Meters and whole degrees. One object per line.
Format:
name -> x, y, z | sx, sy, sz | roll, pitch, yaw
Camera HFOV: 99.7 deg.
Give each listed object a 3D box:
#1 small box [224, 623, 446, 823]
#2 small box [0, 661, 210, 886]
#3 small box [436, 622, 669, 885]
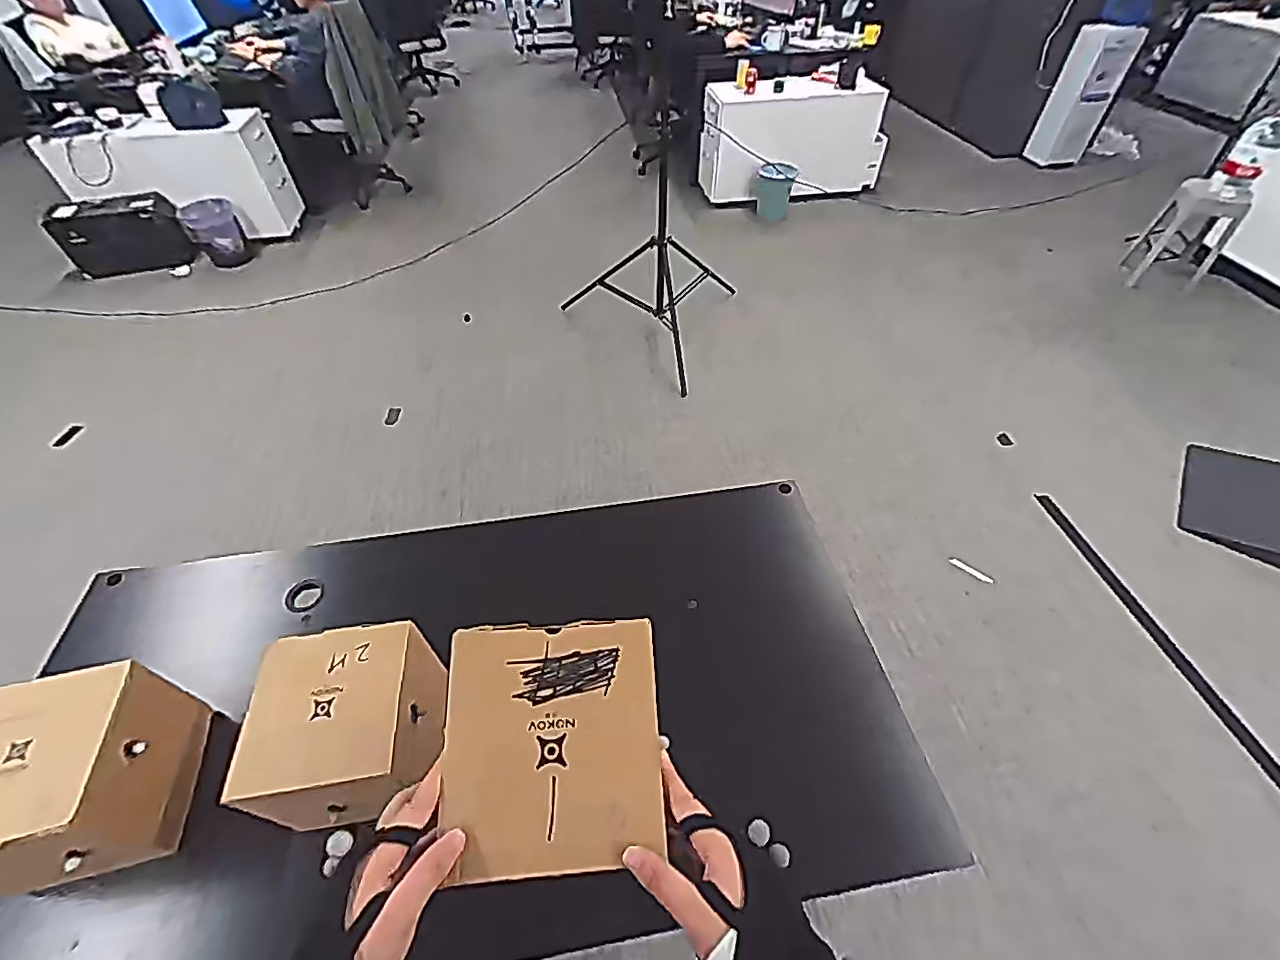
small box -> -0.344, 0.299, 0.656 | 0.168, 0.176, 0.179 | -6, 49, -6
small box -> -0.647, 0.342, 0.625 | 0.168, 0.176, 0.179 | -11, 48, -10
small box -> -0.071, 0.238, 0.488 | 0.168, 0.176, 0.179 | -2, 63, -5
